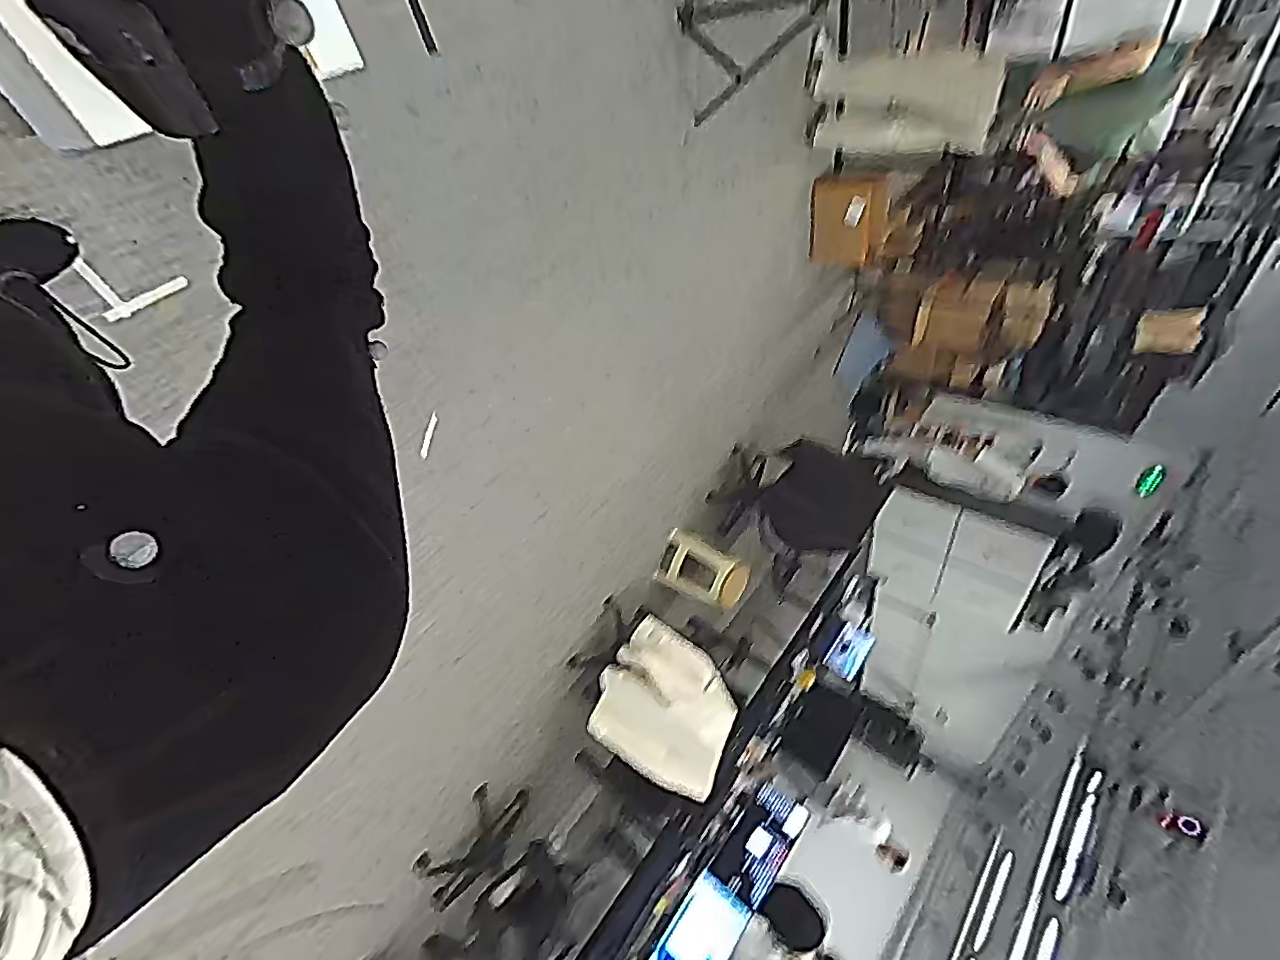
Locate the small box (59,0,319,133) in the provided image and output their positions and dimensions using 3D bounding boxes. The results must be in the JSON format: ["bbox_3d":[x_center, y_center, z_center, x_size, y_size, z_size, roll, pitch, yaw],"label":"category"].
[{"bbox_3d":[-0.556,-0.553,0.669,0.179,0.176,0.168,-47,139,-27],"label":"small box"}]
